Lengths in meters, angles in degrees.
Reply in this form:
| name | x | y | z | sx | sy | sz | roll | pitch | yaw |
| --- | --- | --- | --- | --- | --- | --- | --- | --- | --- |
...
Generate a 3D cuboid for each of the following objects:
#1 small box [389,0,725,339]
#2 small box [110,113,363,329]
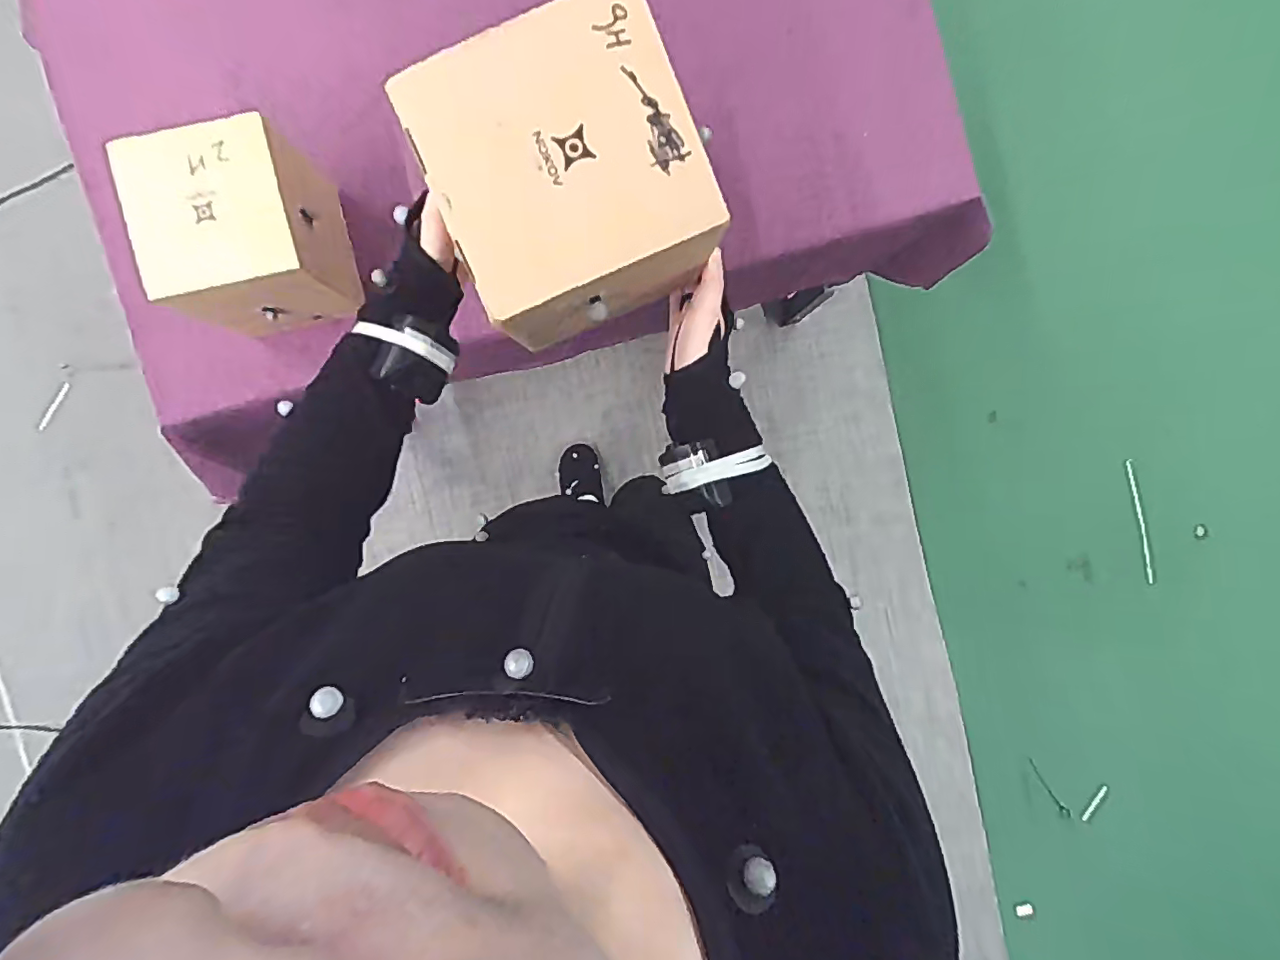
| name | x | y | z | sx | sy | sz | roll | pitch | yaw |
| --- | --- | --- | --- | --- | --- | --- | --- | --- | --- |
| small box | -0.051 | -0.225 | 0.427 | 0.179 | 0.176 | 0.168 | -22 | 98 | 2 |
| small box | -0.468 | -0.295 | 0.660 | 0.168 | 0.176 | 0.179 | -13 | 92 | -3 |
